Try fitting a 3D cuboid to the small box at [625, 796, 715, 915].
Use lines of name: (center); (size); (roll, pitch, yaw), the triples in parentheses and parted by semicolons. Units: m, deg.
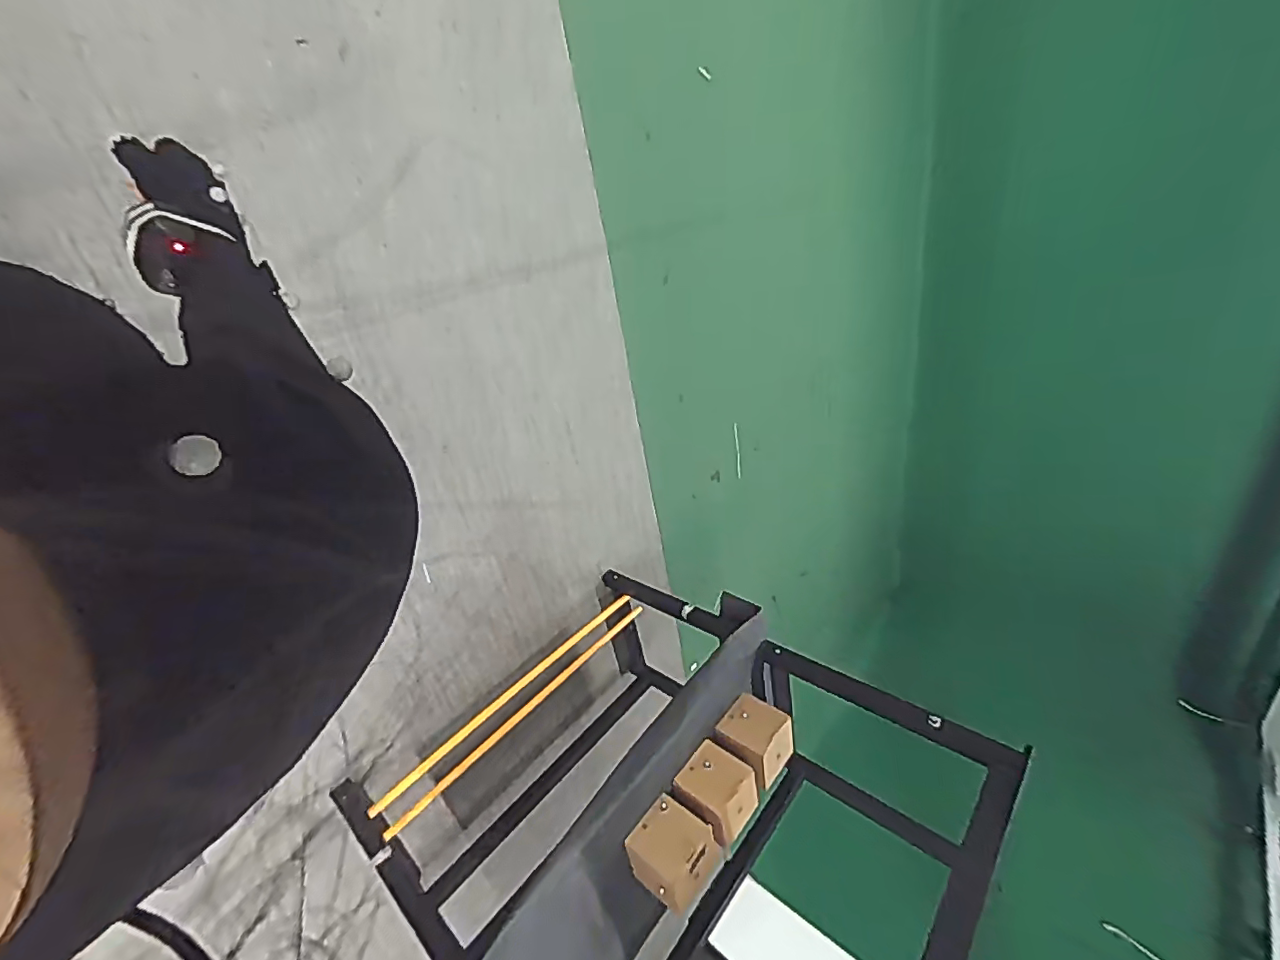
small box: (0.078, 0.987, 1.440); (0.168, 0.176, 0.179); (-33, 126, -37)
